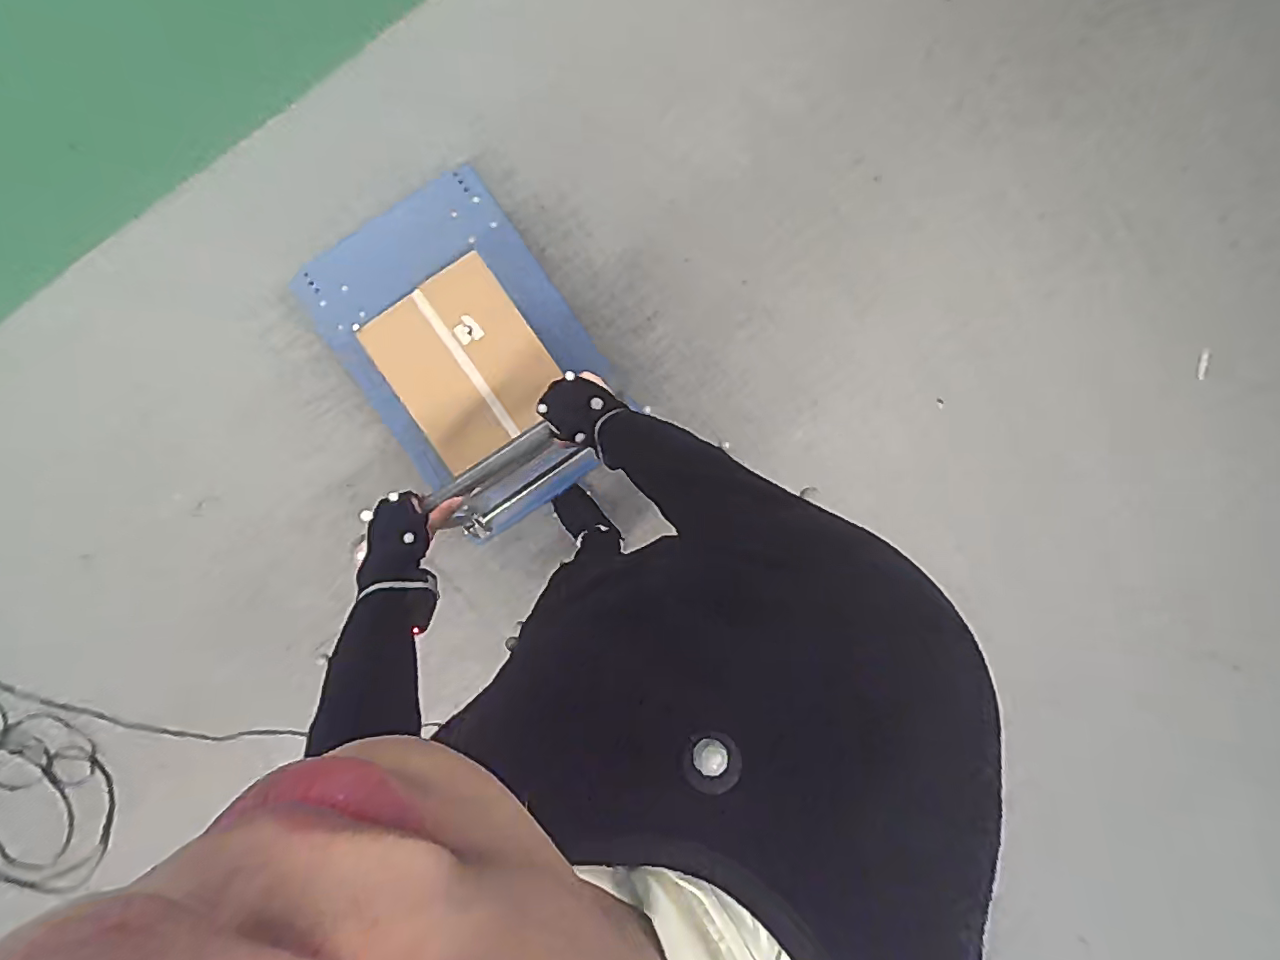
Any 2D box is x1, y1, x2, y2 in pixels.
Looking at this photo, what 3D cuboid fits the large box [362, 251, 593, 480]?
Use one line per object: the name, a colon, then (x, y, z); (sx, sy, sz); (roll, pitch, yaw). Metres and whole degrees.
large box: (-0.359, -0.246, 1.304); (0.320, 0.320, 0.408); (-34, 90, -1)
